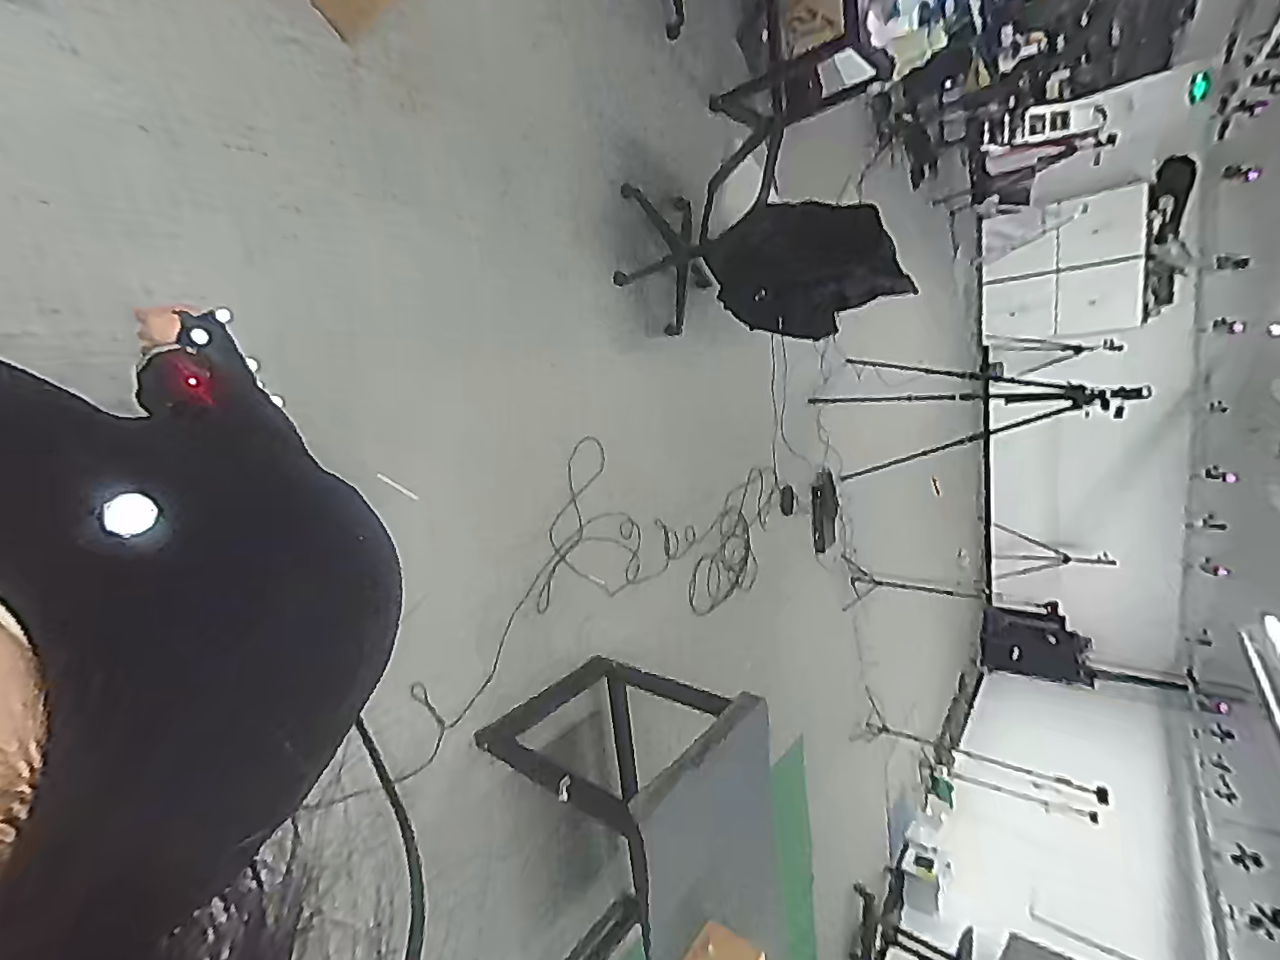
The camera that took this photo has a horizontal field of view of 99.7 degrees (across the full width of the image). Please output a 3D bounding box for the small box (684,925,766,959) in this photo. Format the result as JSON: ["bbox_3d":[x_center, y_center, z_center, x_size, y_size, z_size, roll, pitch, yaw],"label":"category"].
[{"bbox_3d":[0.216,1.308,1.382,0.168,0.176,0.179,-17,102,-50],"label":"small box"}]
